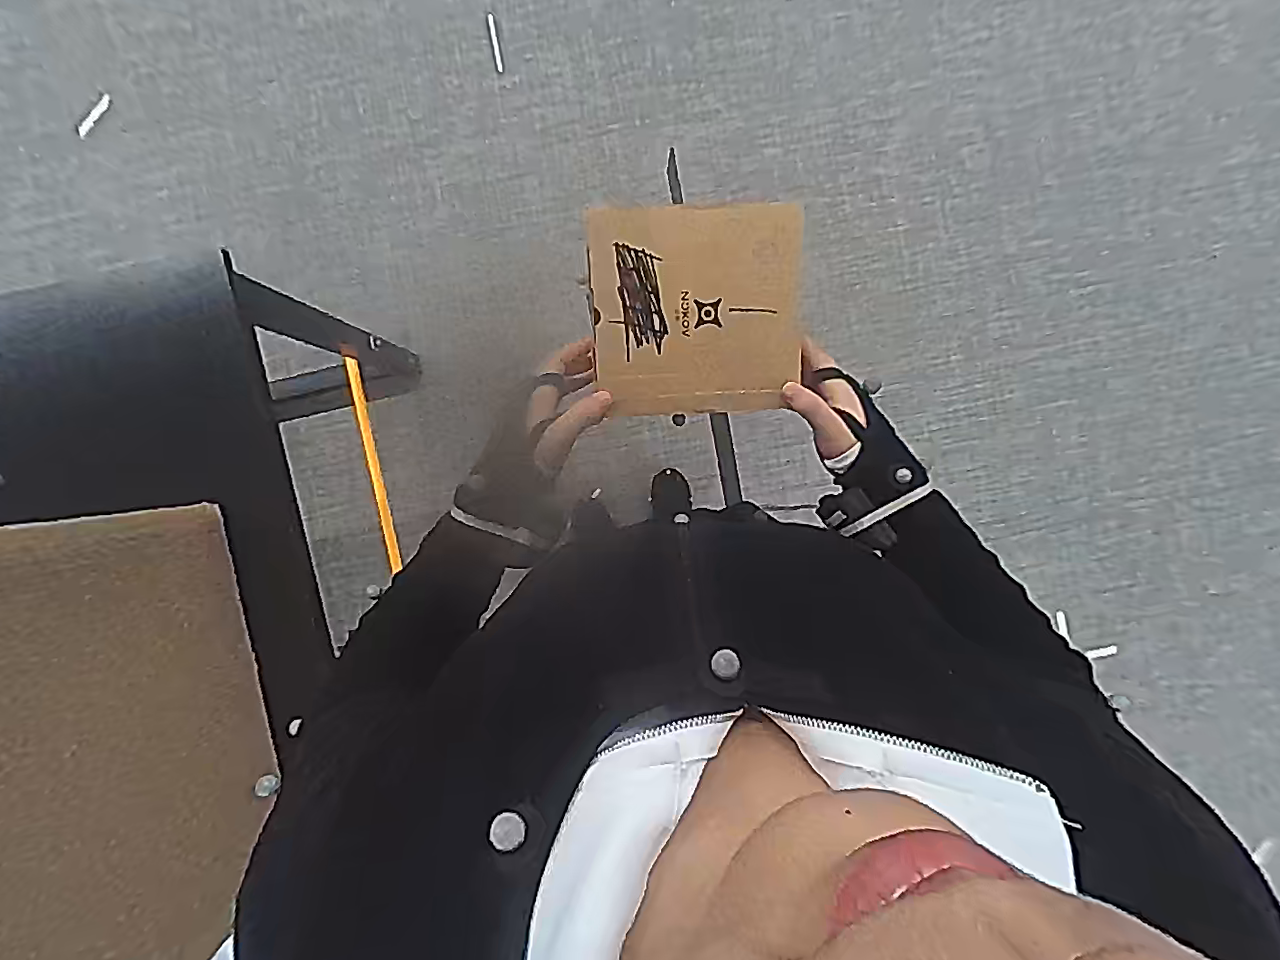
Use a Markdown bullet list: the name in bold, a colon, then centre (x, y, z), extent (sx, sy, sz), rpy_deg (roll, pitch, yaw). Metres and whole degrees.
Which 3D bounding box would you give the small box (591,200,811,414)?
- **small box**: centre (0.048, -0.153, 0.517), extent (0.179, 0.176, 0.168), rpy_deg (-4, 102, -3)
